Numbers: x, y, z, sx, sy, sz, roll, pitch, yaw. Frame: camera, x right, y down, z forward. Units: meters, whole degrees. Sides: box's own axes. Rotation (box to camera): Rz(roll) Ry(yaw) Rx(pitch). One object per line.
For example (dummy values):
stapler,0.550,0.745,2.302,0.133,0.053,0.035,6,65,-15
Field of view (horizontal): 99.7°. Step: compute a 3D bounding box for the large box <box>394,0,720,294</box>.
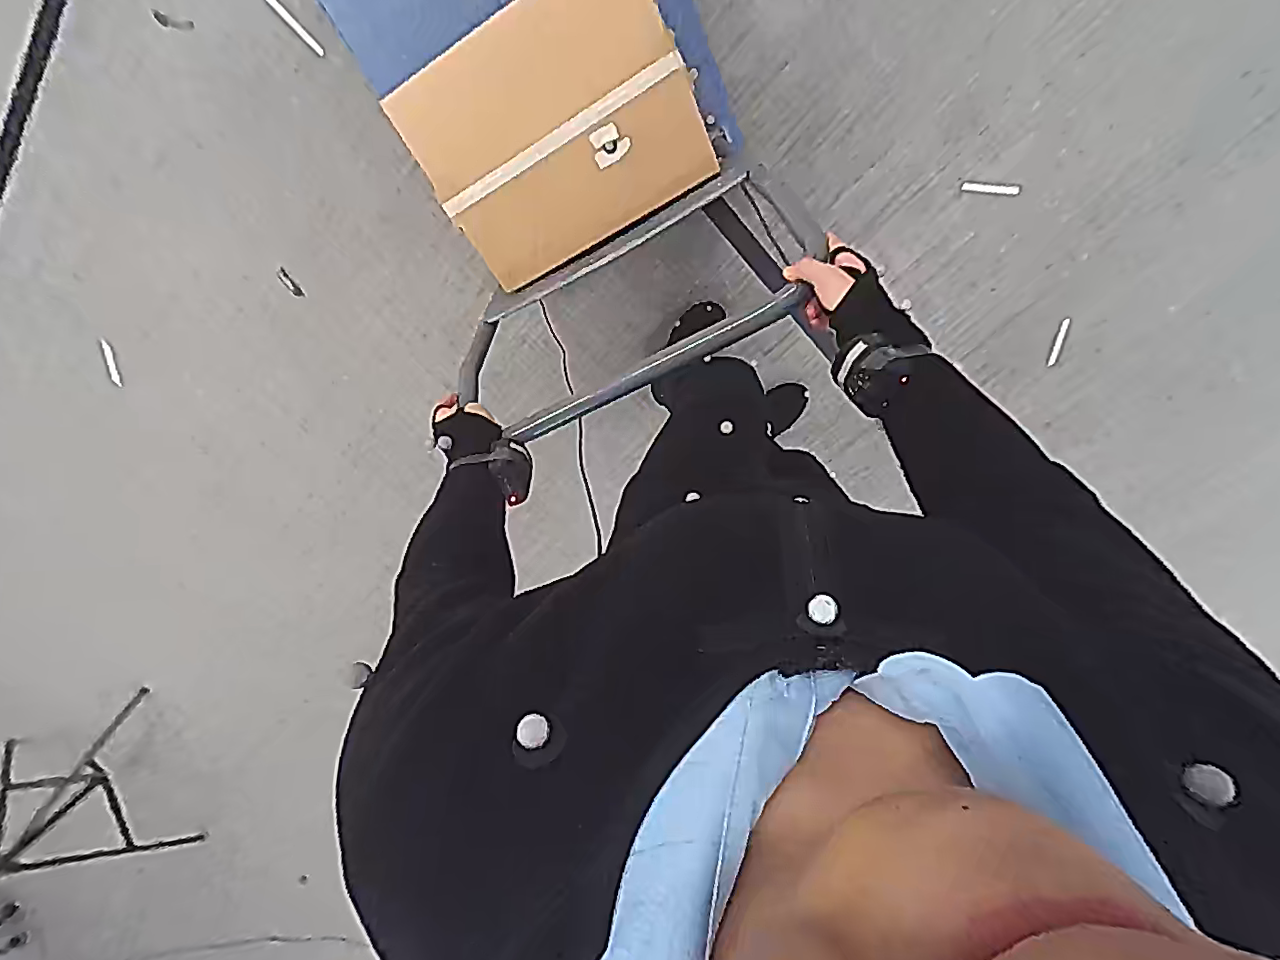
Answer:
large box,-0.123,-0.595,0.935,0.408,0.320,0.320,-25,123,15
